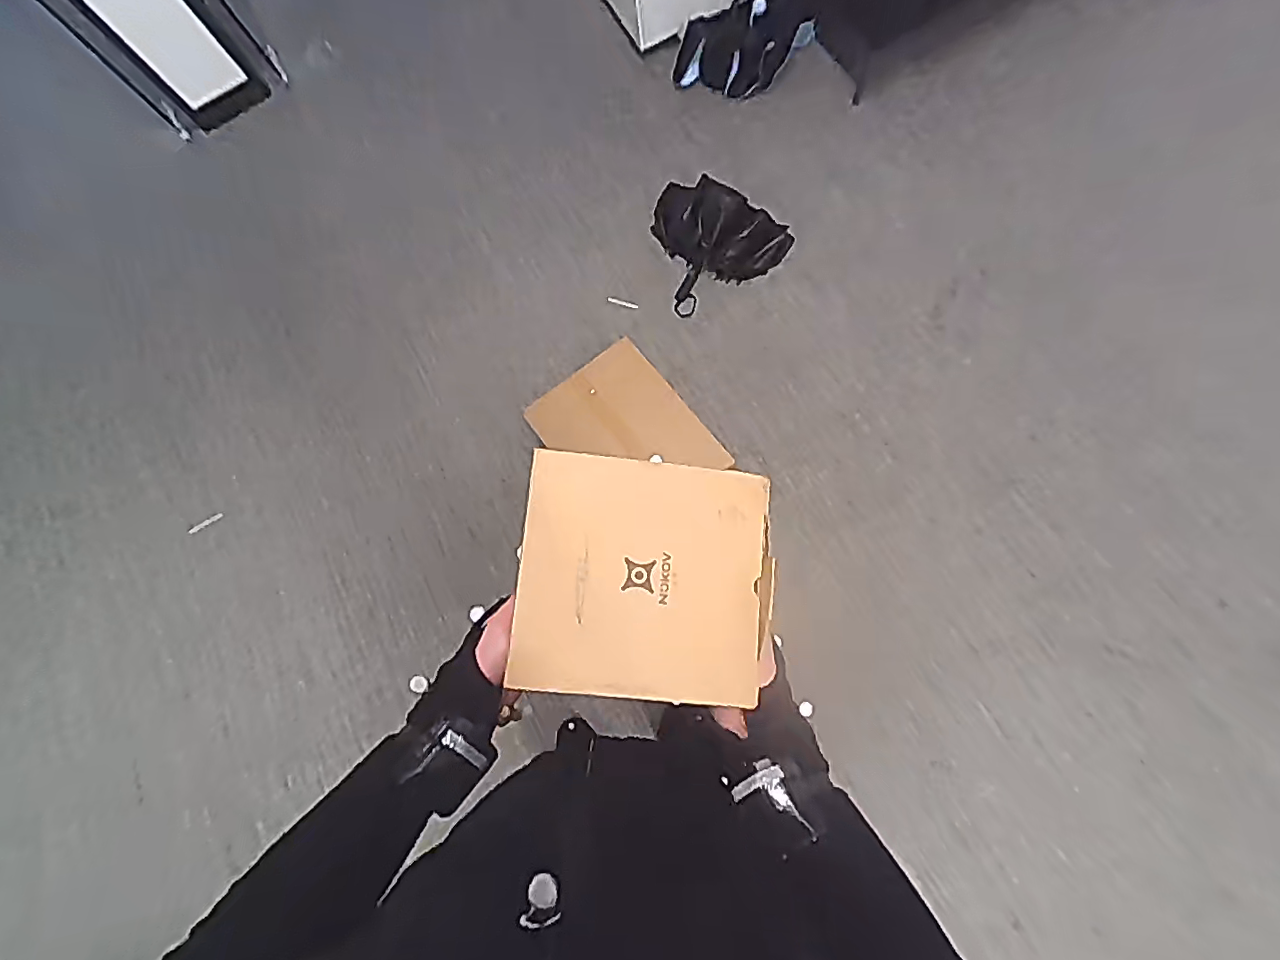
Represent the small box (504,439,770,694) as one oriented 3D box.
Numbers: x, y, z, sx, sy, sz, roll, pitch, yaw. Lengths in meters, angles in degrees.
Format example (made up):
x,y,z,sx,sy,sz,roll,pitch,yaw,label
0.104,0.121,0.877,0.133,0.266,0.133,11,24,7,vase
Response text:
x,y,z,sx,sy,sz,roll,pitch,yaw,label
-0.004,0.071,0.459,0.179,0.176,0.168,6,80,-3,small box
